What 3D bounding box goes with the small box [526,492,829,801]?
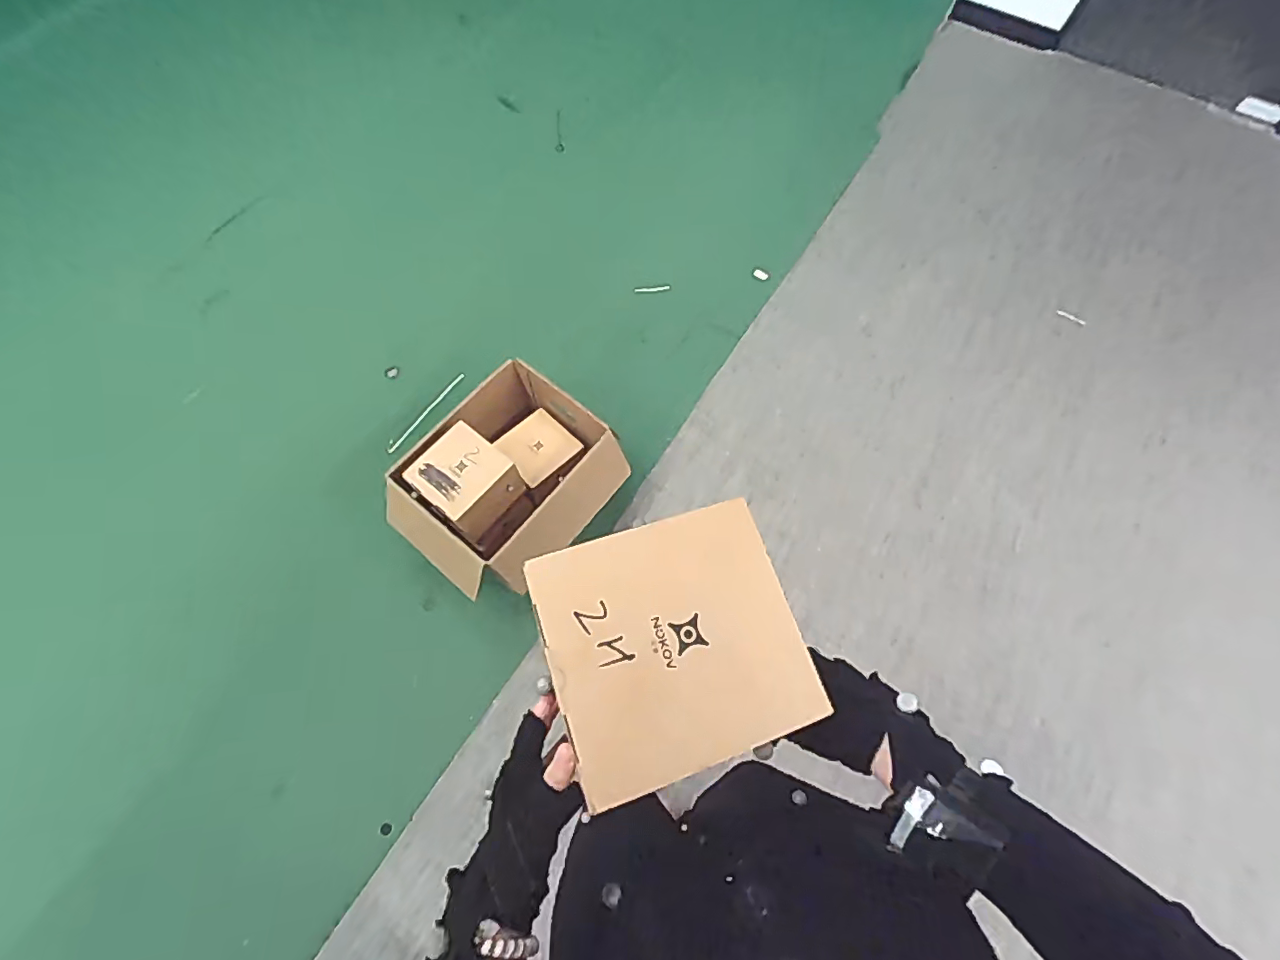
[{"bbox_3d":[0.014,0.129,0.445,0.179,0.176,0.168,-15,72,-13],"label":"small box"}]
